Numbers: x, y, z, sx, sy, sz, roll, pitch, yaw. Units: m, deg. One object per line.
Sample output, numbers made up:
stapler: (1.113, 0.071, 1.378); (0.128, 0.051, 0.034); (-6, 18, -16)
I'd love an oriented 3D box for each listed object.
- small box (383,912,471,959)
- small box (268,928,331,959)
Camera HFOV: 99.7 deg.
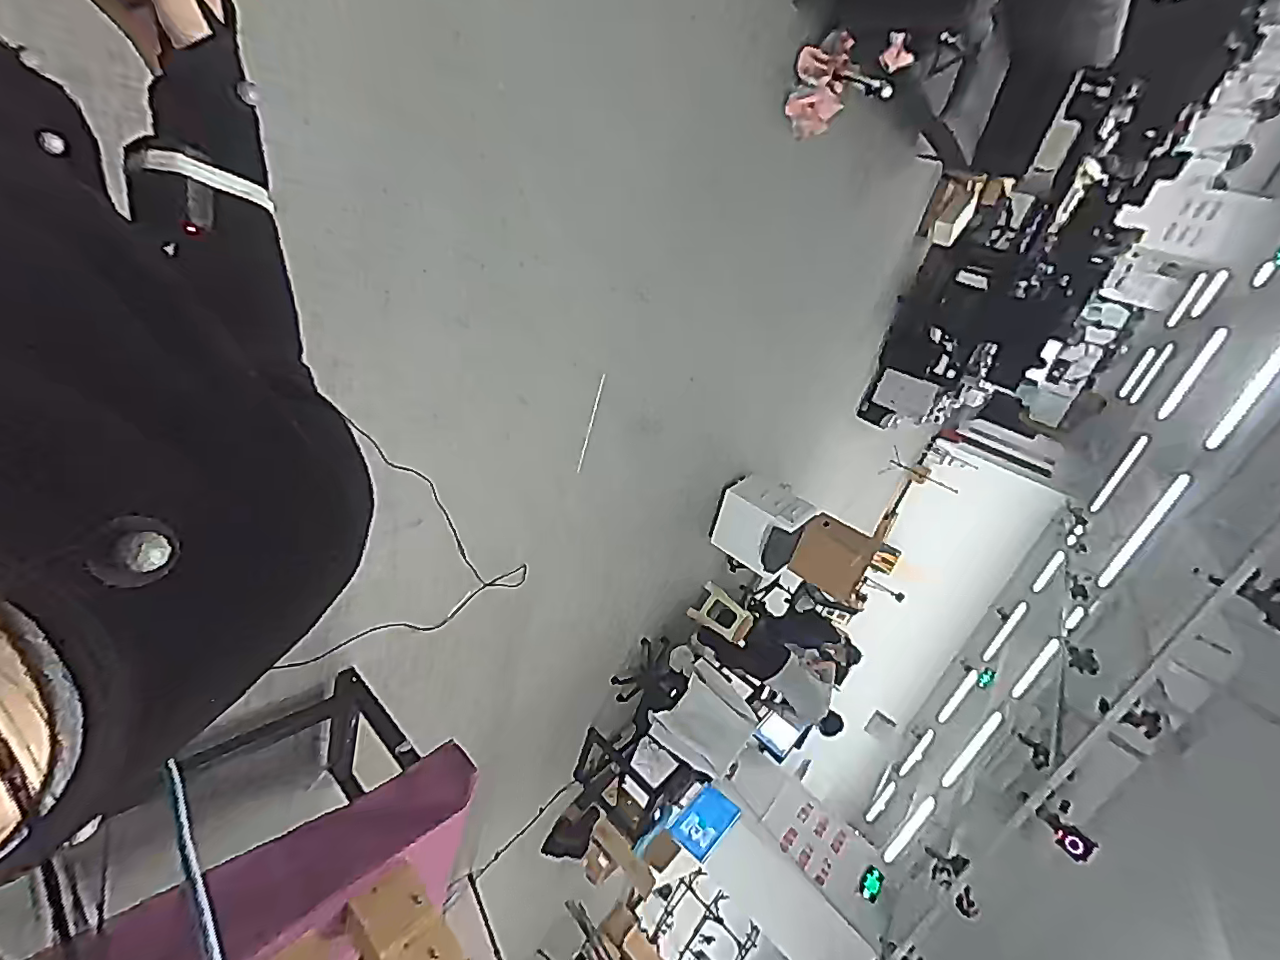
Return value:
small box: (-0.578, 1.314, 1.444); (0.168, 0.176, 0.179); (-17, 133, -48)
small box: (-0.856, 1.267, 1.324); (0.179, 0.176, 0.168); (-14, 129, -50)
